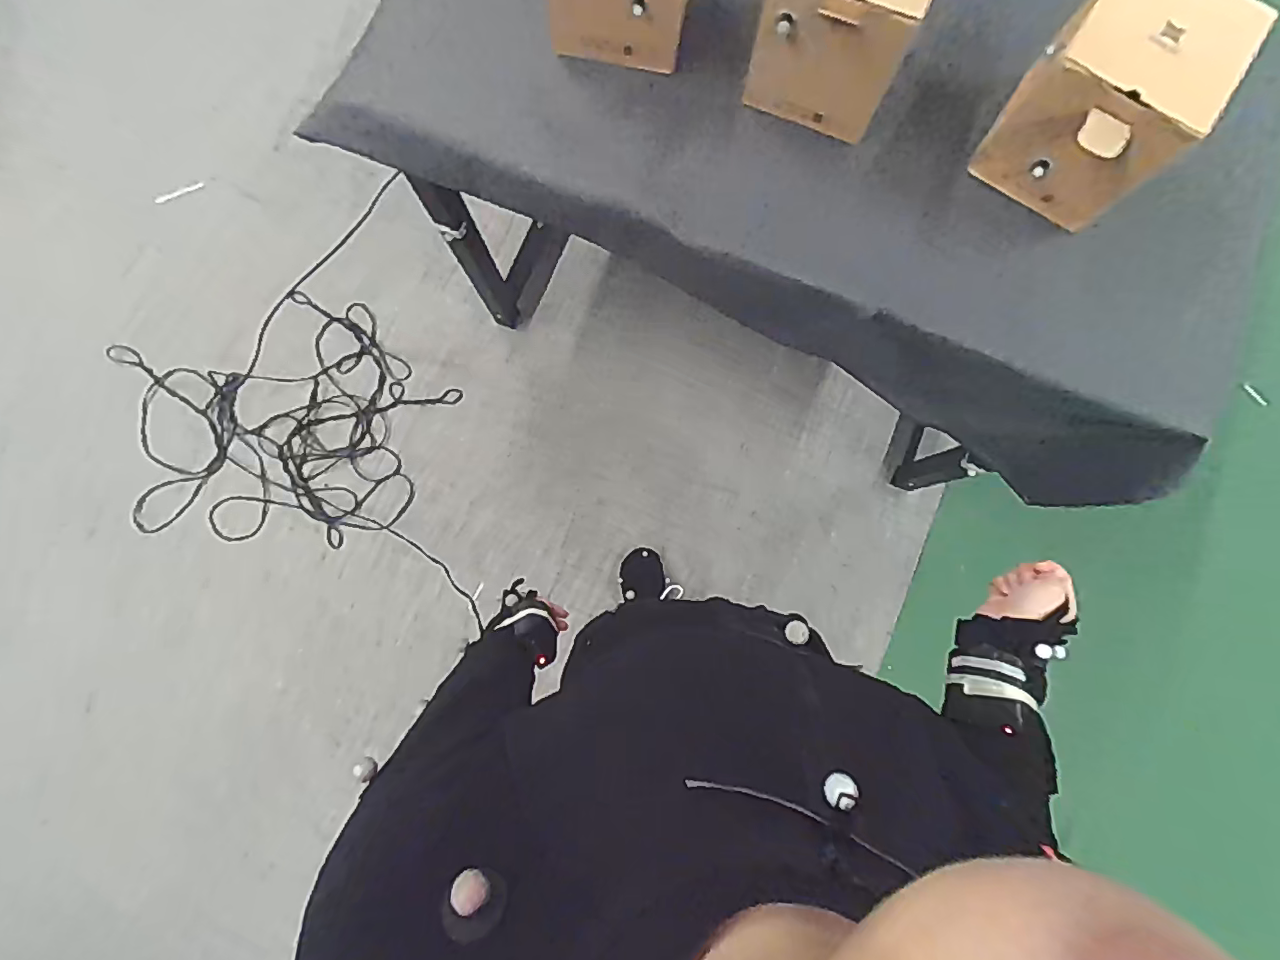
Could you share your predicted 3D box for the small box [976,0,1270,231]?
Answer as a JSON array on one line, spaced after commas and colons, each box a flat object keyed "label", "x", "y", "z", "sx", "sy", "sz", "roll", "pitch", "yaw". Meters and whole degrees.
[{"label": "small box", "x": 0.548, "y": -0.445, "z": 0.642, "sx": 0.168, "sy": 0.176, "sz": 0.179, "roll": 33, "pitch": 84, "yaw": 4}]

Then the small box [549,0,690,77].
[{"label": "small box", "x": -0.018, "y": -0.652, "z": 0.670, "sx": 0.168, "sy": 0.176, "sz": 0.179, "roll": 12, "pitch": 81, "yaw": 0}]
